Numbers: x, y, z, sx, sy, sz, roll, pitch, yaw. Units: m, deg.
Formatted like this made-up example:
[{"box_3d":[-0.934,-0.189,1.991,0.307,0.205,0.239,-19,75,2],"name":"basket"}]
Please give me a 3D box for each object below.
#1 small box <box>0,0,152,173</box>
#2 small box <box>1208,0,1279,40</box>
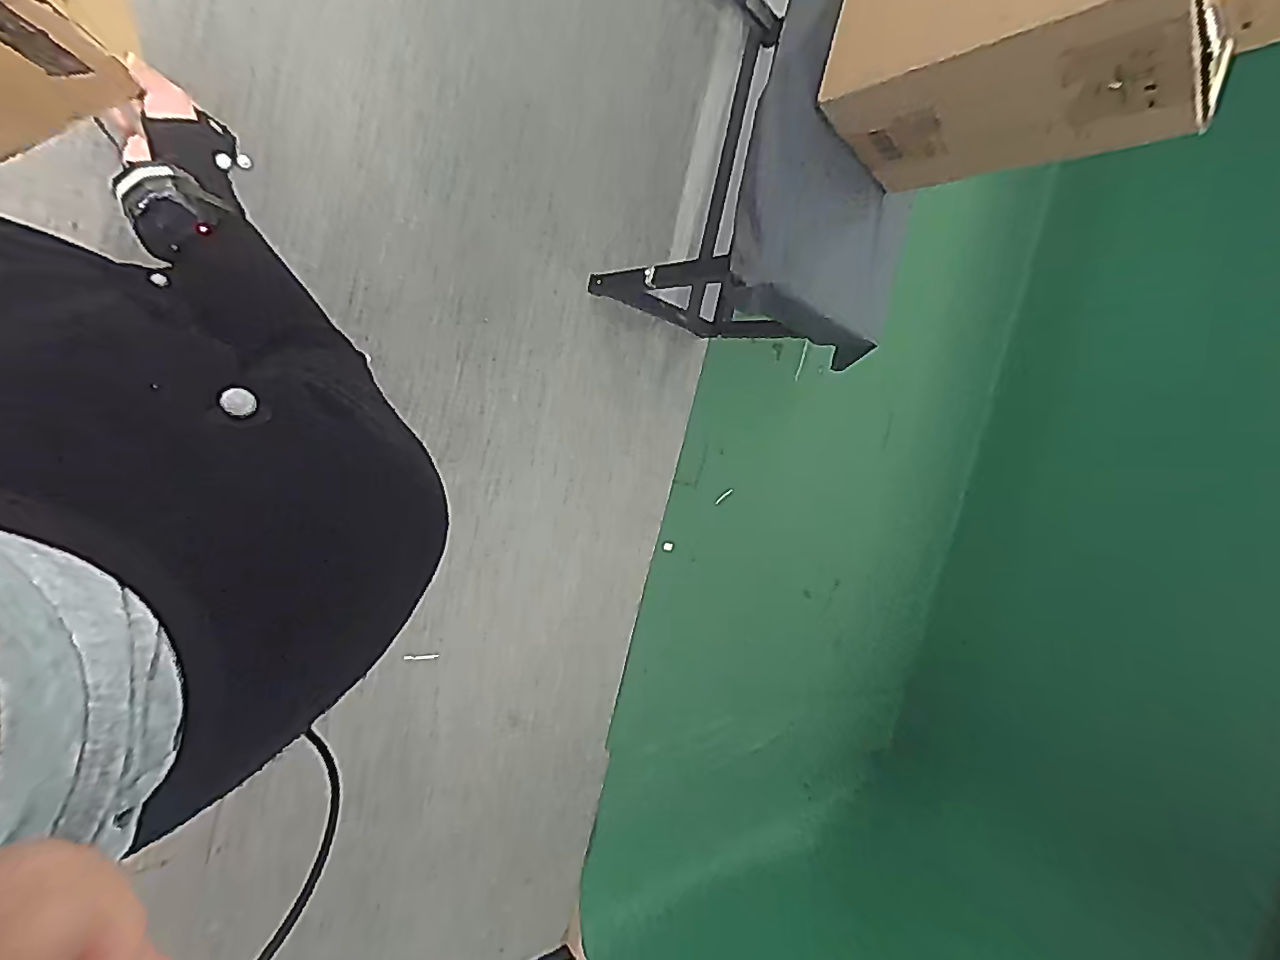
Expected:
[{"box_3d":[-0.559,-0.404,0.431,0.179,0.176,0.168,-25,167,5],"name":"small box"},{"box_3d":[1.008,-0.845,0.829,0.168,0.176,0.179,11,92,-38],"name":"small box"}]
